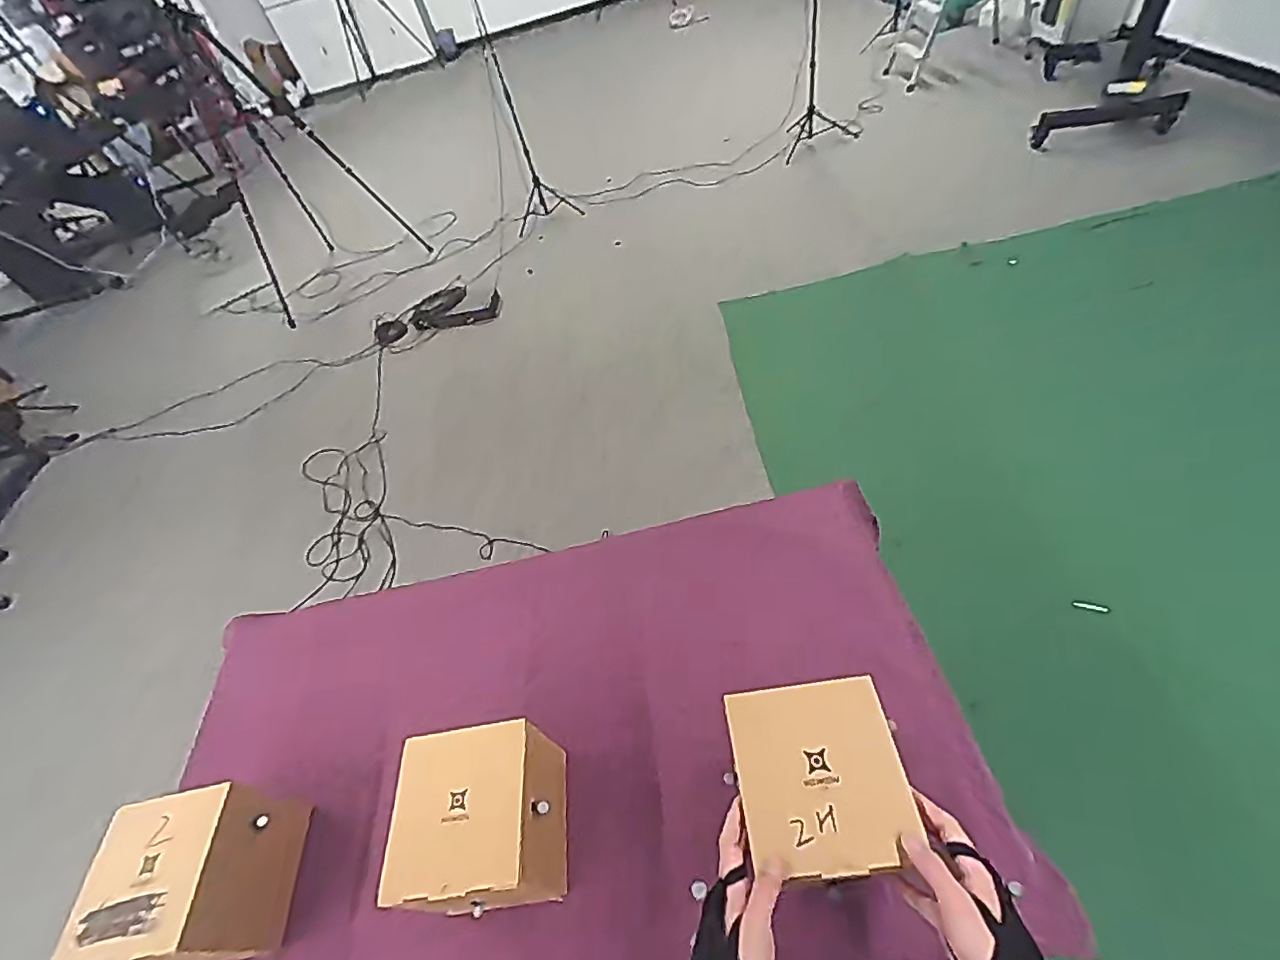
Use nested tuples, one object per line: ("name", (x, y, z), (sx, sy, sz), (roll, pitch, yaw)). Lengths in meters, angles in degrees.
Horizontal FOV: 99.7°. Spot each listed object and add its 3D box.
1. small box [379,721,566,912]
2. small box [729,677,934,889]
("small box", (-0.198, 0.435, 0.695), (0.168, 0.176, 0.179), (-11, 50, 5))
("small box", (0.197, 0.347, 0.614), (0.168, 0.176, 0.179), (-10, 51, 5))
